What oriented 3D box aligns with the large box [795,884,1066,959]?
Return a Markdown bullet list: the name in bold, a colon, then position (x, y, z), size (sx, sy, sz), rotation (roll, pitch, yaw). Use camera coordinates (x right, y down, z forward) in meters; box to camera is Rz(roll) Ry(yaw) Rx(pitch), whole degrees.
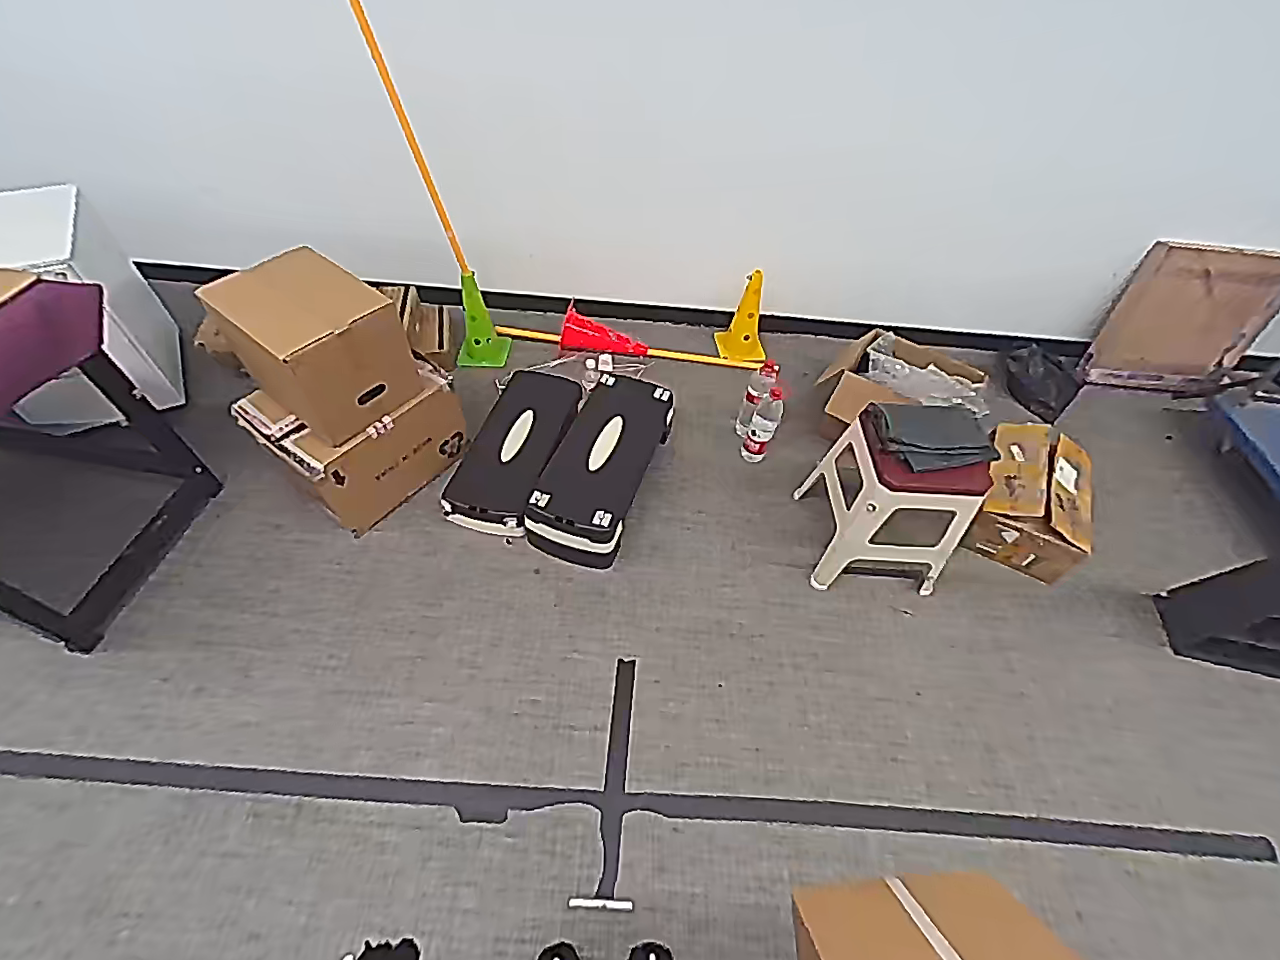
- **large box**: position (0.401, 0.762, 0.621), size (0.320, 0.408, 0.320), rotation (-4, 85, -2)
